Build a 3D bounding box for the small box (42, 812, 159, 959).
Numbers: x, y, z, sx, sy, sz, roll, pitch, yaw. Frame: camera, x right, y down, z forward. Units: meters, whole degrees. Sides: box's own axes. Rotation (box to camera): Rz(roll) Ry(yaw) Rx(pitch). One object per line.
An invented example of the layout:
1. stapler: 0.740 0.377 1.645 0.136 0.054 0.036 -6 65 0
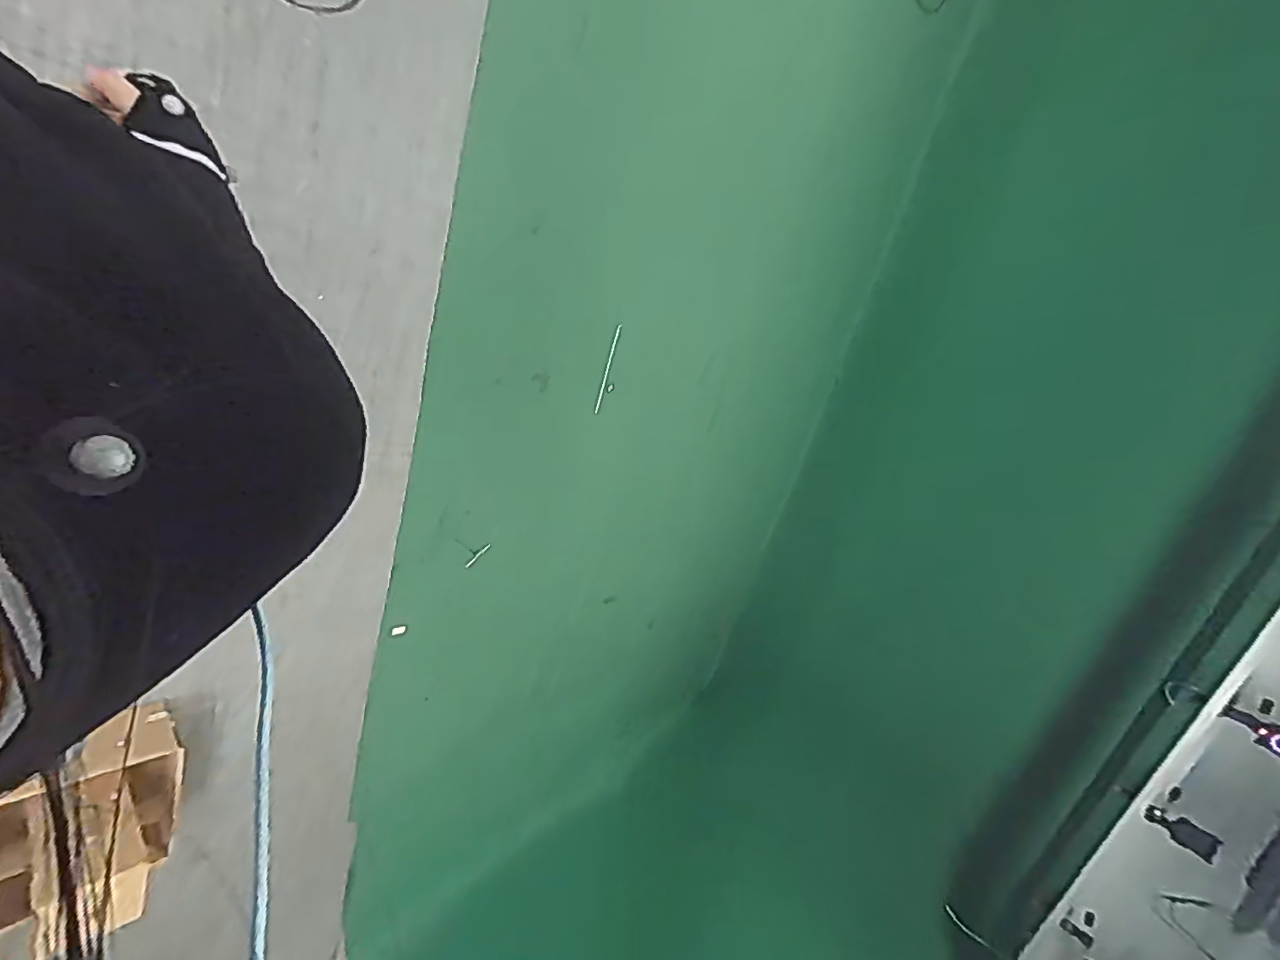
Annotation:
1. small box: -1.213 0.902 1.214 0.168 0.176 0.179 0 112 -52
